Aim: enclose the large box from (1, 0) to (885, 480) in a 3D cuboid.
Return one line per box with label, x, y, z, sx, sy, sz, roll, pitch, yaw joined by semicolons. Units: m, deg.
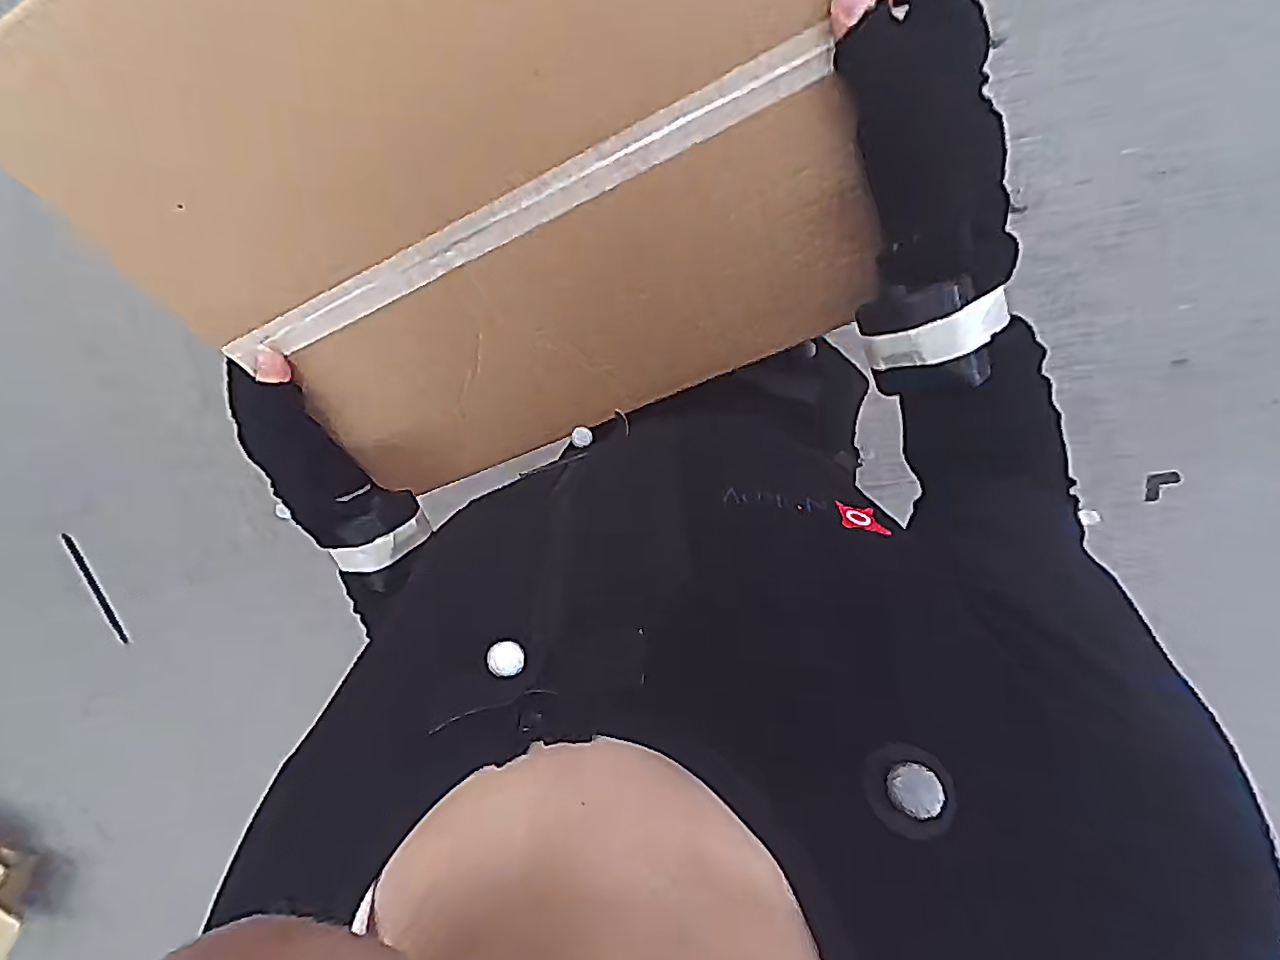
large box;-0.082;-0.264;0.416;0.408;0.320;0.320;-19;134;14
